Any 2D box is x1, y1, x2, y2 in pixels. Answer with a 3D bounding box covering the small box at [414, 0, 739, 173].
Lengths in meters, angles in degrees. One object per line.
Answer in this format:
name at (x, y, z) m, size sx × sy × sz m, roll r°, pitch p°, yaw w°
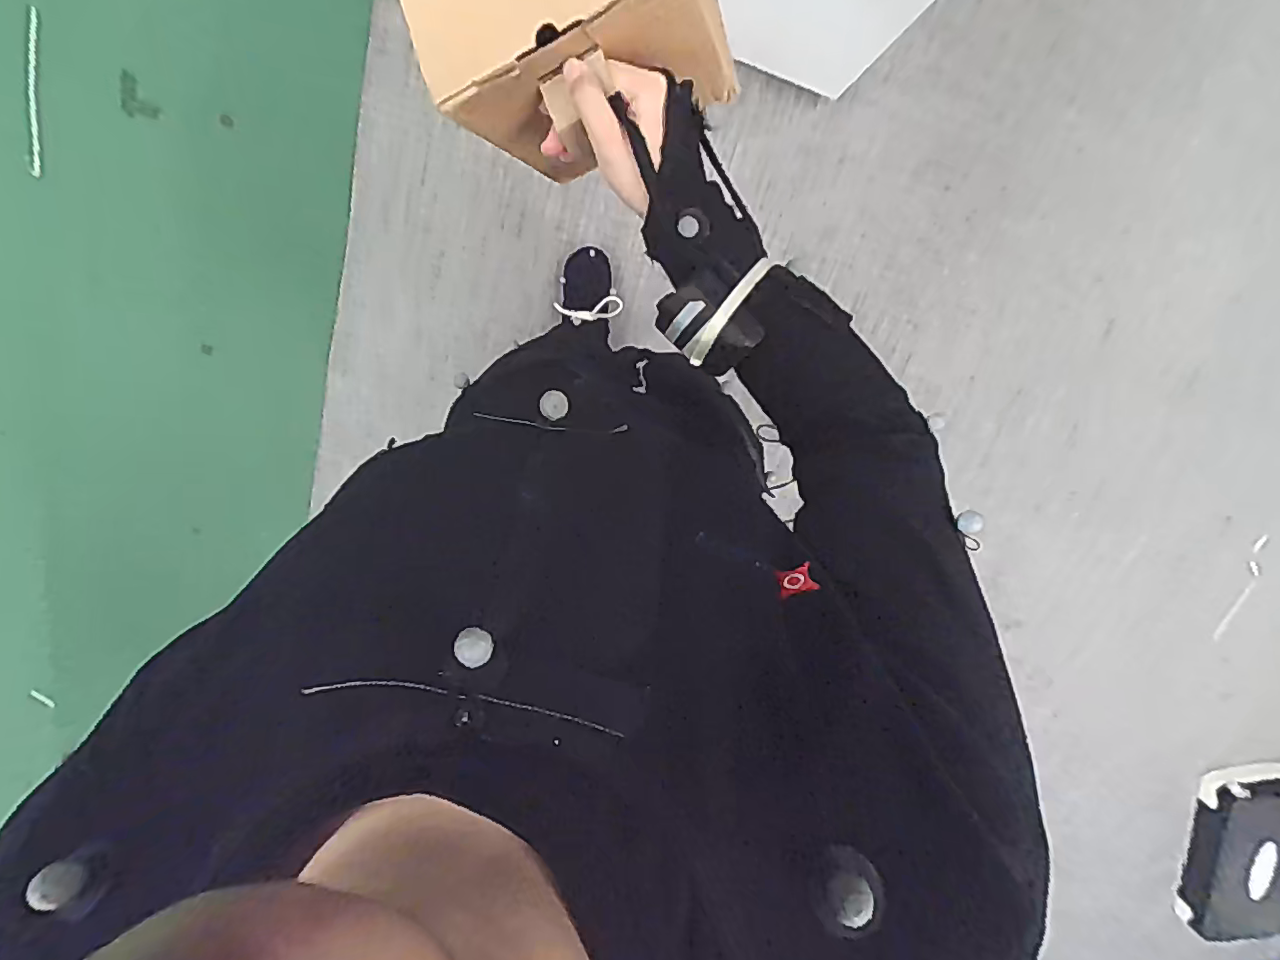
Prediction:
small box at (-0.040, -0.344, 0.358) m, size 0.168 × 0.176 × 0.179 m, roll -12°, pitch 99°, yaw 21°
